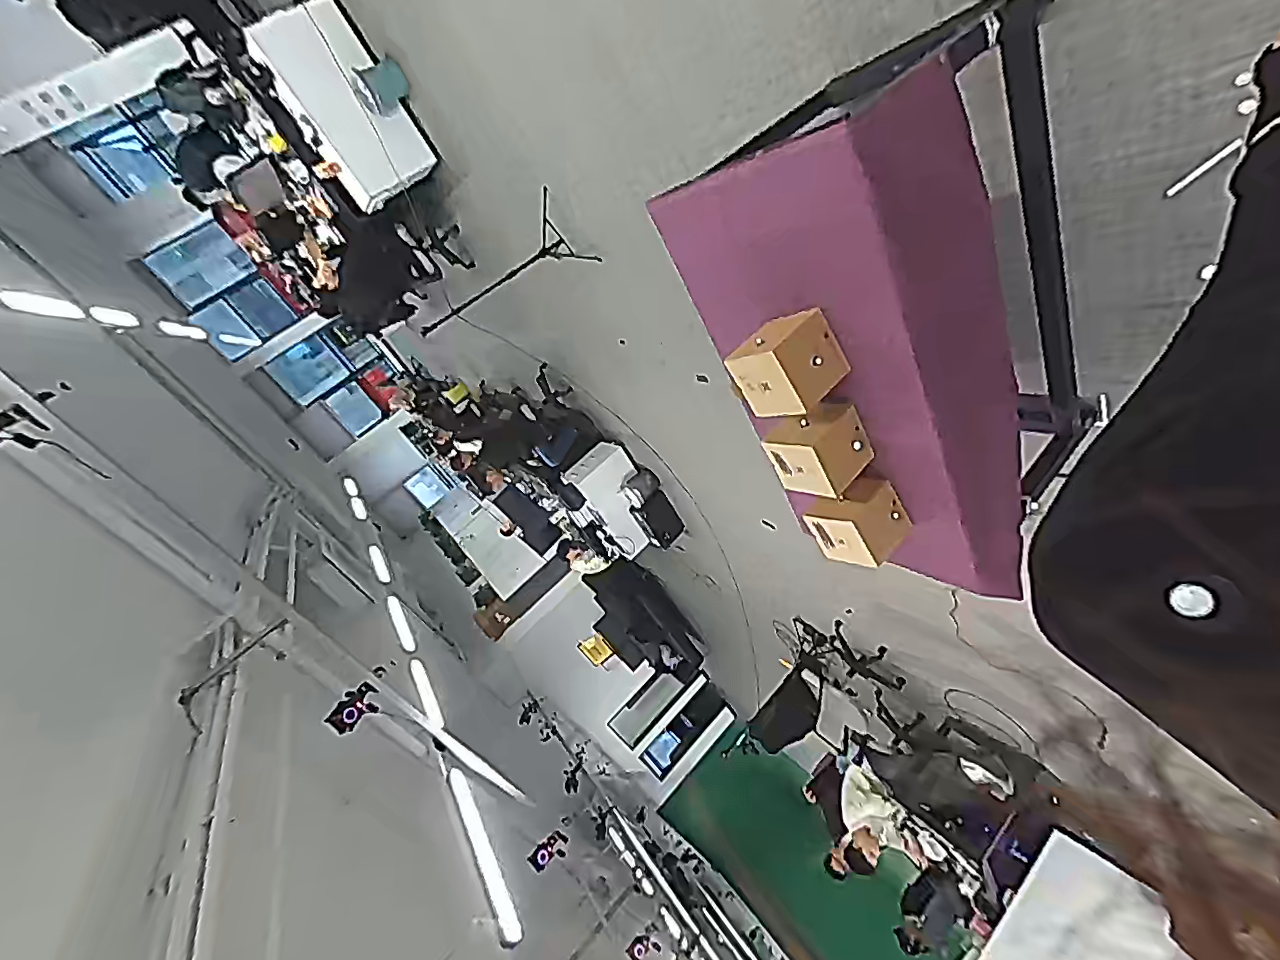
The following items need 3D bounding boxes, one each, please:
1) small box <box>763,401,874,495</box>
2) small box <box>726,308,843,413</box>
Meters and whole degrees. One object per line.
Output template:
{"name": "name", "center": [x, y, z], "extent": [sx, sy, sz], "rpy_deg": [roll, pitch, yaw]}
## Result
{"name": "small box", "center": [0.455, -0.089, 1.379], "extent": [0.168, 0.176, 0.179], "rpy_deg": [55, 161, -25]}
{"name": "small box", "center": [0.339, -0.272, 1.246], "extent": [0.168, 0.176, 0.179], "rpy_deg": [54, 162, -20]}
